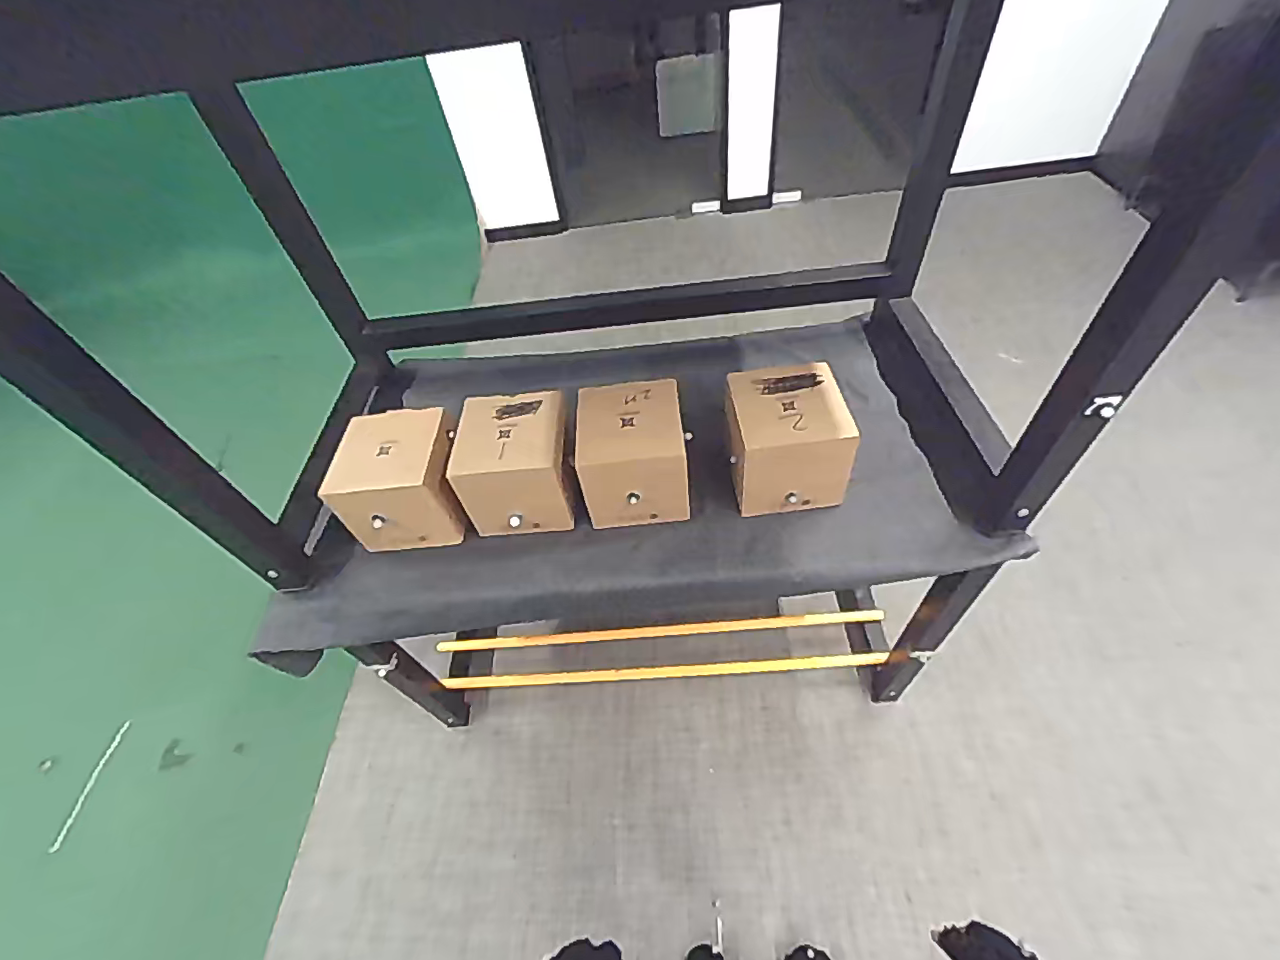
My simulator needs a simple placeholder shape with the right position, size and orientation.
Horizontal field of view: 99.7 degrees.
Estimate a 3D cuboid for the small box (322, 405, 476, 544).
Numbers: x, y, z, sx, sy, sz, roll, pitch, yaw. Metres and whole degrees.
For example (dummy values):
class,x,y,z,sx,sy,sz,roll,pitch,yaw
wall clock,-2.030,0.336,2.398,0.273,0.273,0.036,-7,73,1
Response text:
class,x,y,z,sx,sy,sz,roll,pitch,yaw
small box,-0.395,-0.002,0.925,0.168,0.176,0.179,-5,49,3
